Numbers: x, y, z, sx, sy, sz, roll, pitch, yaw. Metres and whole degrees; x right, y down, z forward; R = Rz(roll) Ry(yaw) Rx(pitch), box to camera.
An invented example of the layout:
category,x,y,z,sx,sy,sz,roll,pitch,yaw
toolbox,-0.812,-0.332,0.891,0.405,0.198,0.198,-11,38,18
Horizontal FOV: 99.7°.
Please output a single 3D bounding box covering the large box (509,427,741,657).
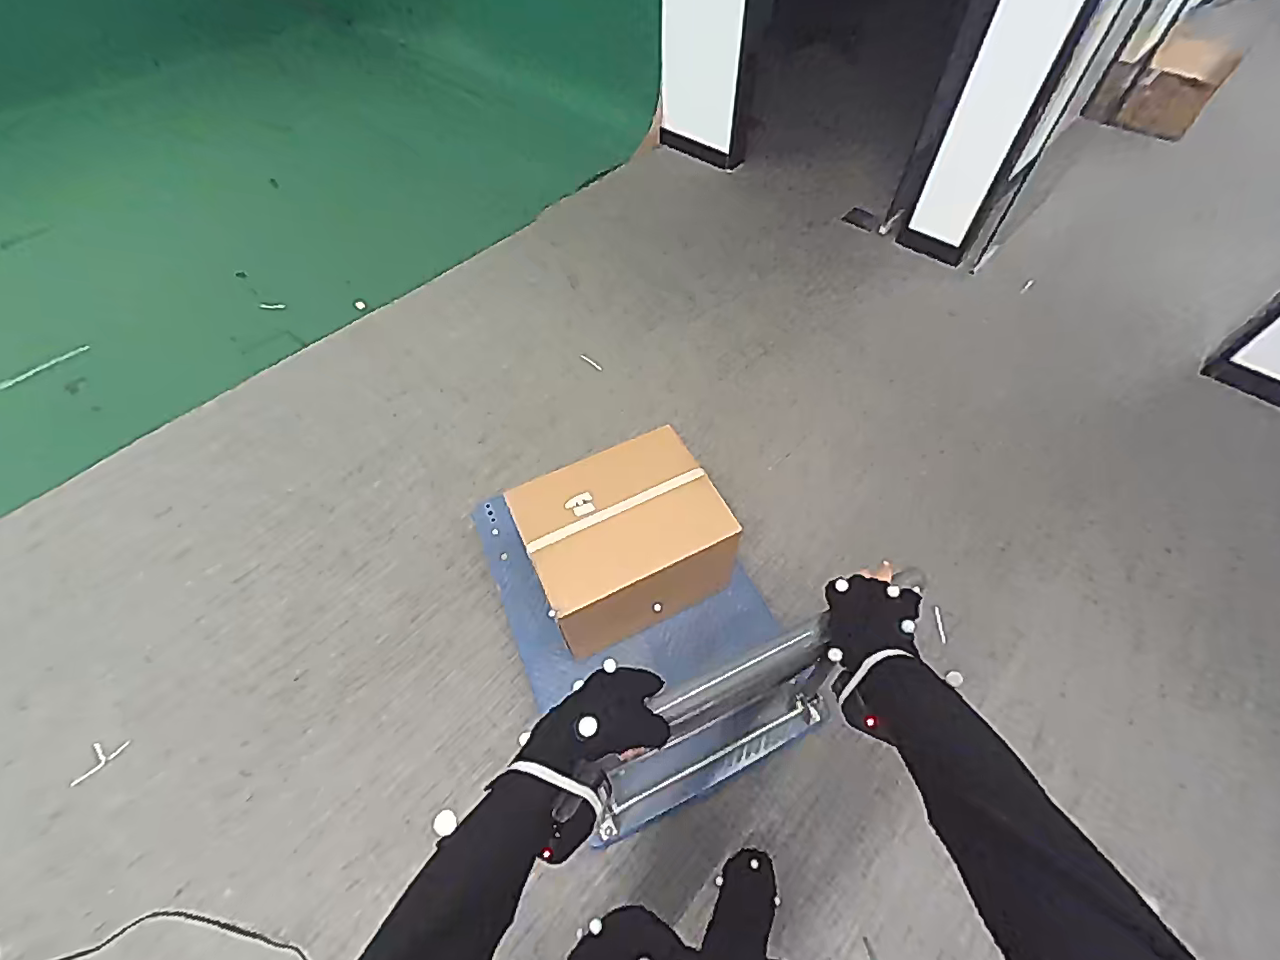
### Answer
category,x,y,z,sx,sy,sz,roll,pitch,yaw
large box,-0.032,0.147,1.249,0.408,0.320,0.320,-24,59,-13
